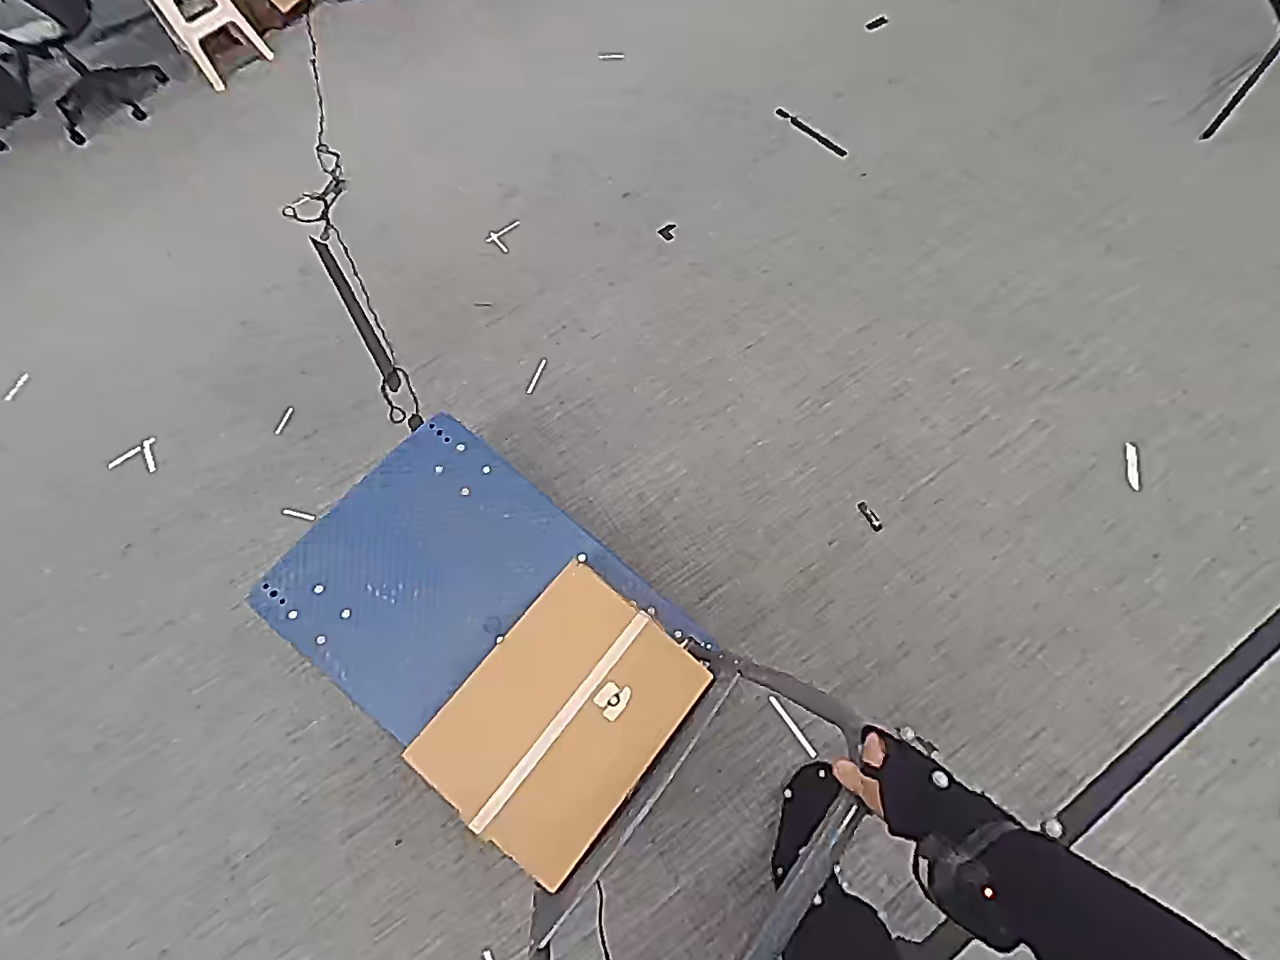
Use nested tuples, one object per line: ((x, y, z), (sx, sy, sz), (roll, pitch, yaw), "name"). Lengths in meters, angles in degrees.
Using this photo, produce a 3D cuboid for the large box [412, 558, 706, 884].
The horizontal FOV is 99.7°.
((-0.140, 0.414, 1.025), (0.320, 0.320, 0.408), (40, 74, 3), "large box")
